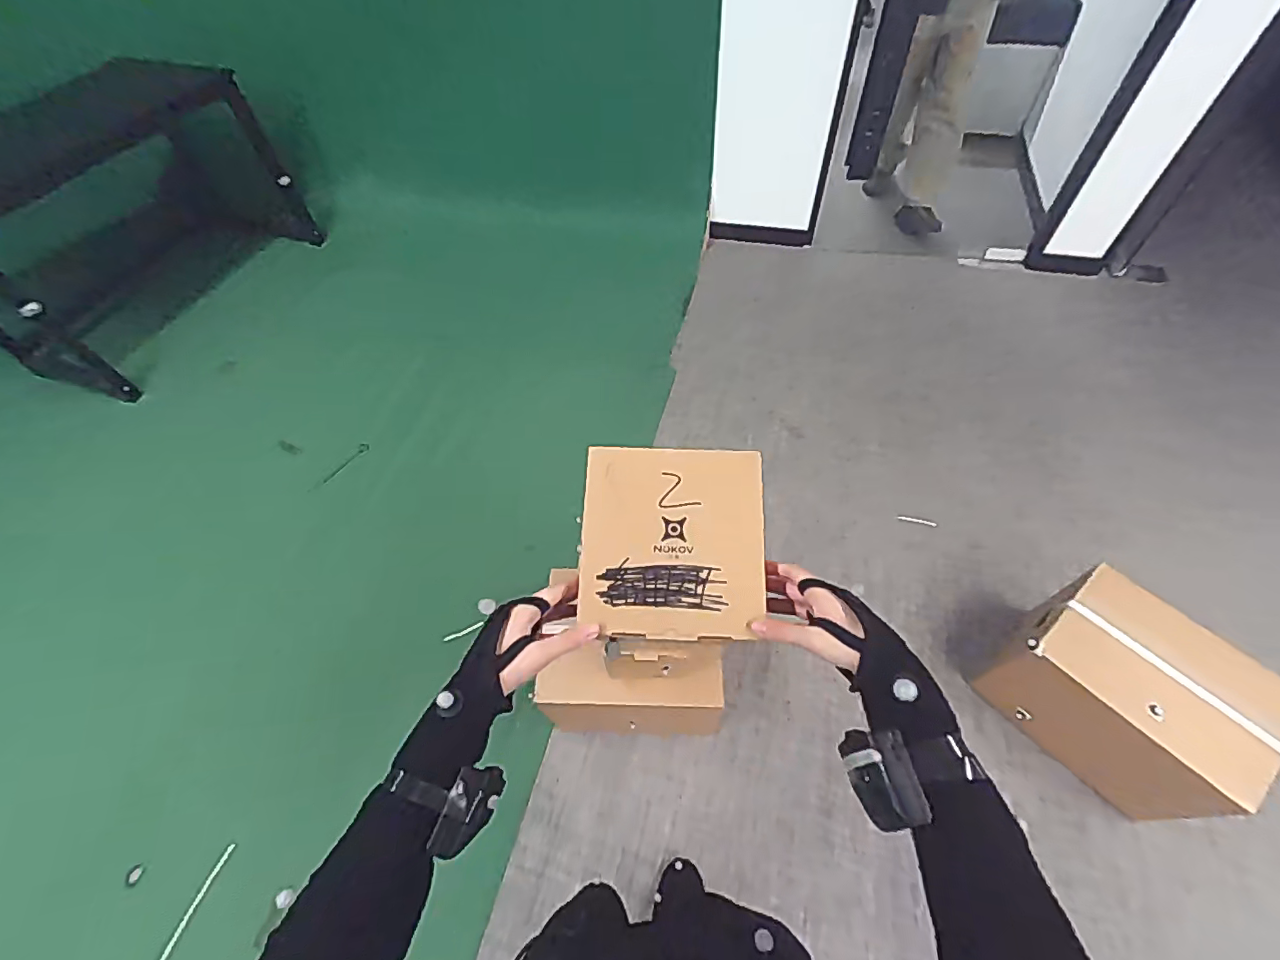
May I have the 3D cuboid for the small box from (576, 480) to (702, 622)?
[{"bbox_3d":[0.002,0.116,0.853,0.179,0.176,0.168,1,54,2],"label":"small box"}]

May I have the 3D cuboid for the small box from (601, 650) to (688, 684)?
[{"bbox_3d":[0.016,0.312,1.115,0.168,0.176,0.179,1,54,3],"label":"small box"}]

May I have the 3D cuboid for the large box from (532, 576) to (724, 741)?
[{"bbox_3d":[-0.014,0.445,1.322,0.408,0.320,0.320,-1,53,4],"label":"large box"}]

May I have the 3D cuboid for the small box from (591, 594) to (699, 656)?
[{"bbox_3d":[0.012,0.214,0.984,0.179,0.176,0.168,-1,54,3],"label":"small box"}]
